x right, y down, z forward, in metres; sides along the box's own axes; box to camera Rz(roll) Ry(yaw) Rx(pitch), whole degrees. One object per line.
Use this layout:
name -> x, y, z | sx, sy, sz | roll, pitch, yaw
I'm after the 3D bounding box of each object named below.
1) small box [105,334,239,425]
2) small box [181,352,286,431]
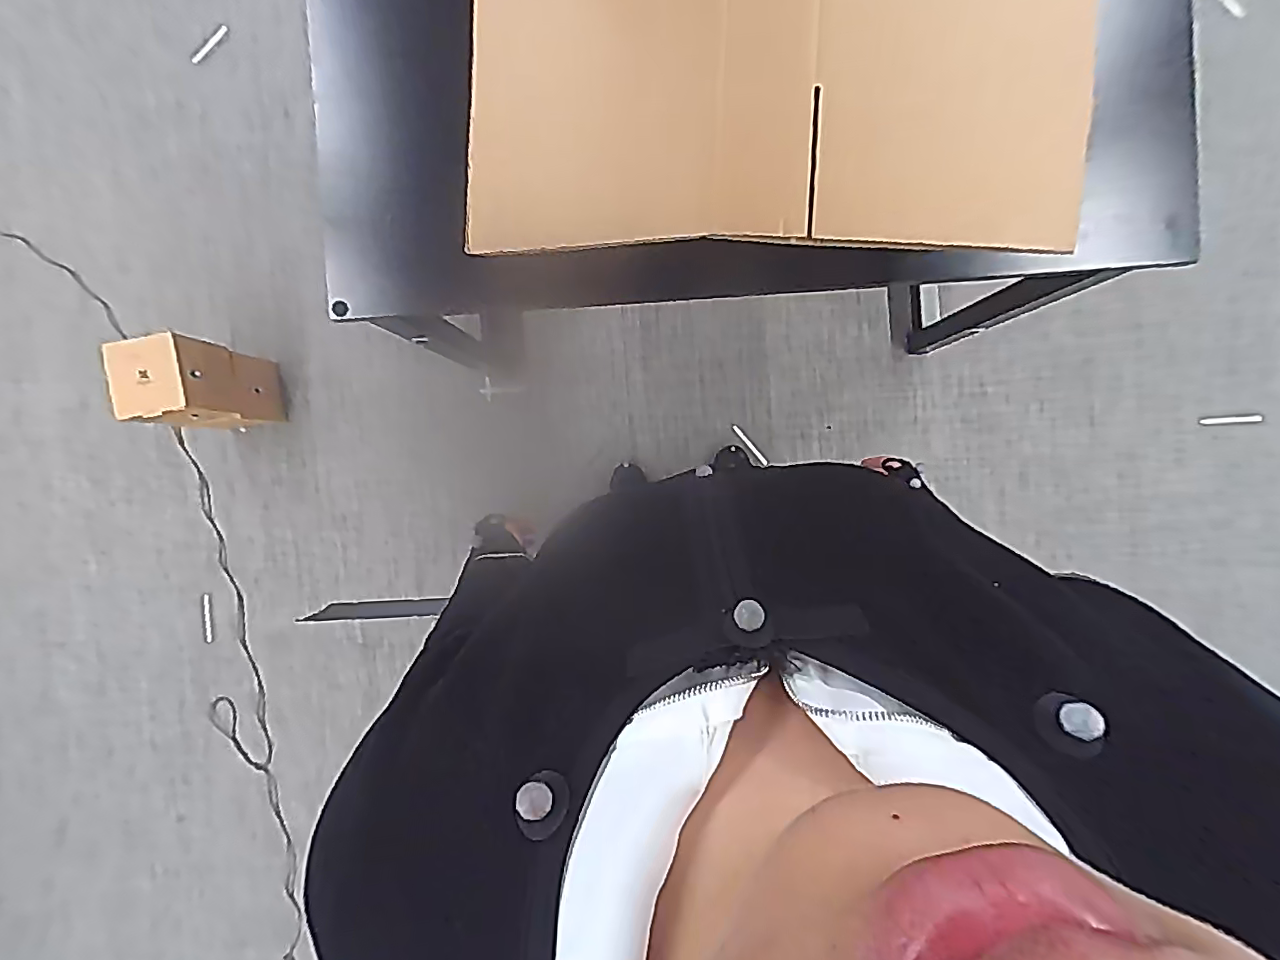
small box -> -1.100, -0.231, 1.286 | 0.168, 0.176, 0.179 | -10, 90, 1
small box -> -1.092, -0.230, 1.449 | 0.168, 0.176, 0.179 | -7, 92, 2
